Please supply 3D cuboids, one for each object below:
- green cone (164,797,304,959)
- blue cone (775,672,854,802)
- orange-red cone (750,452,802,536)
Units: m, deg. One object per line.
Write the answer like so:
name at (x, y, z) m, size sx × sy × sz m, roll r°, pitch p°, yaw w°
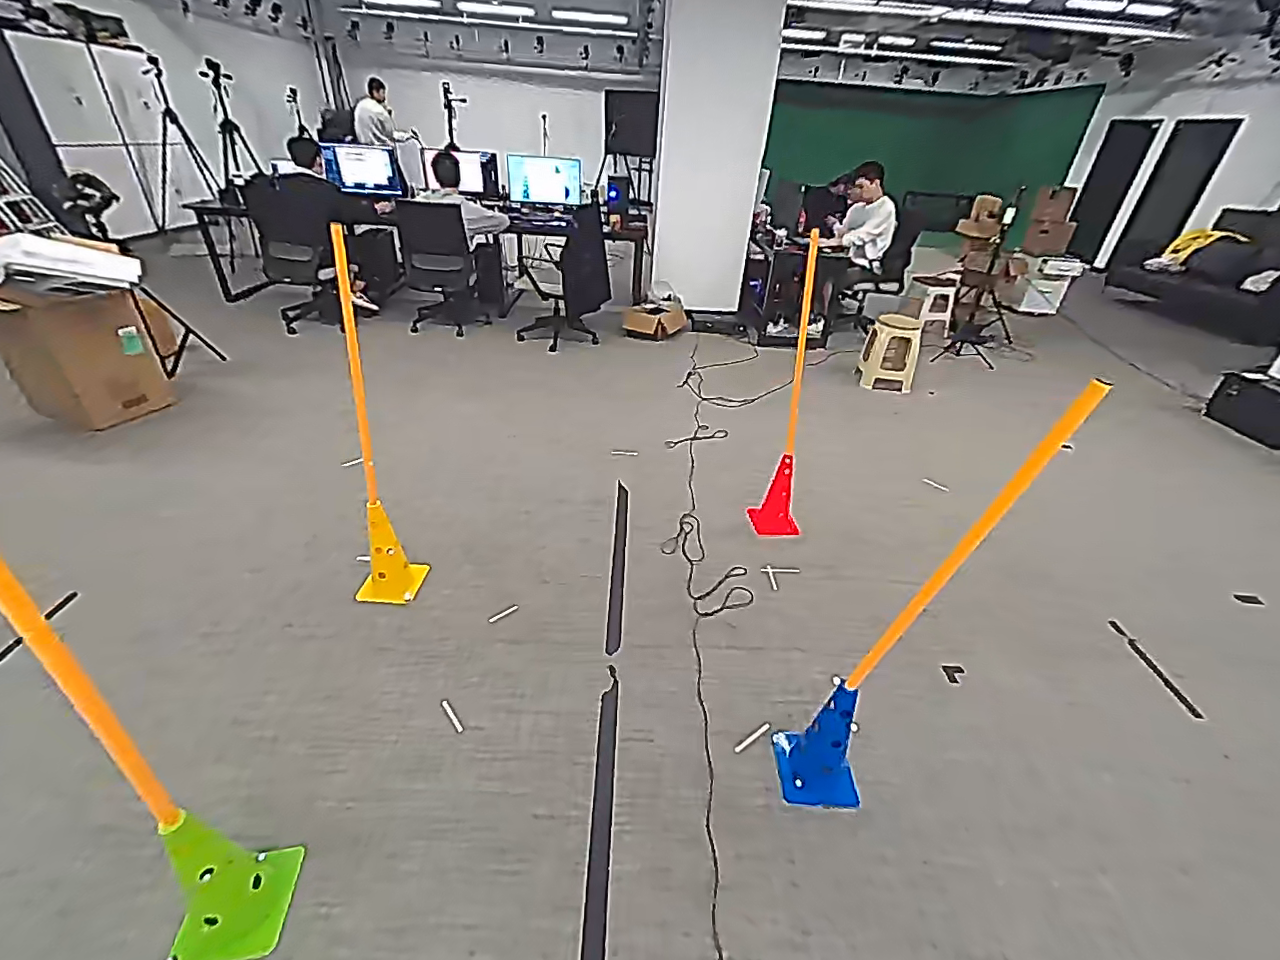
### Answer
green cone at (-0.835, 0.745, 1.056) m, size 0.200 × 0.368 × 0.202 m, roll -3°, pitch 31°, yaw -11°
blue cone at (0.485, 0.640, 1.387) m, size 0.193 × 0.380 × 0.192 m, roll 5°, pitch 32°, yaw 1°
orange-red cone at (0.609, 0.043, 2.316) m, size 0.199 × 0.360 × 0.198 m, roll -1°, pitch 32°, yaw -5°
